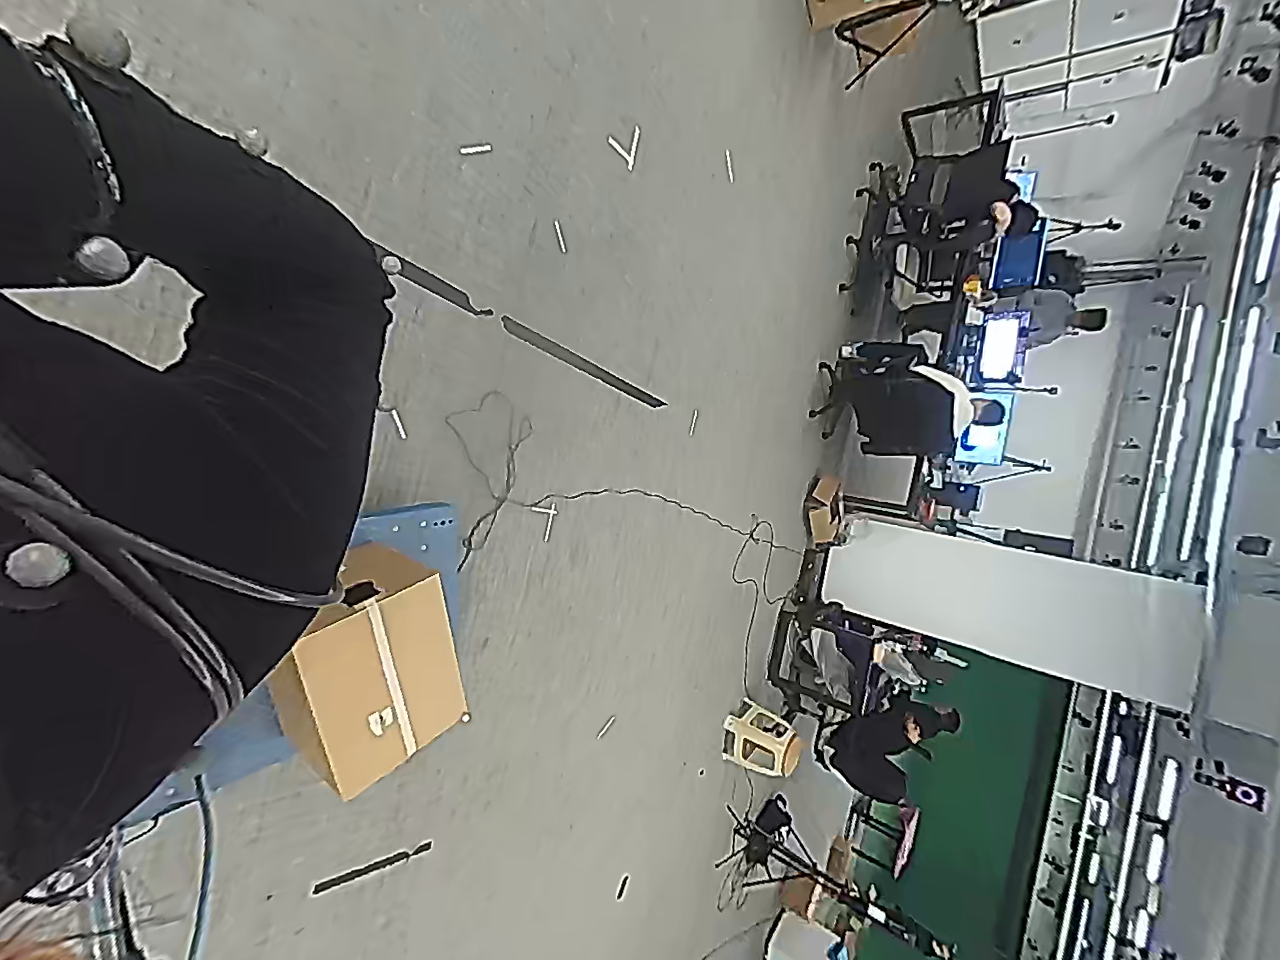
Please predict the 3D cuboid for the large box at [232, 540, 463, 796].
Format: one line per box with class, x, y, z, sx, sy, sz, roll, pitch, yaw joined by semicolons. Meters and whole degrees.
large box;-0.663;0.405;1.254;0.320;0.320;0.408;-25;120;-46
